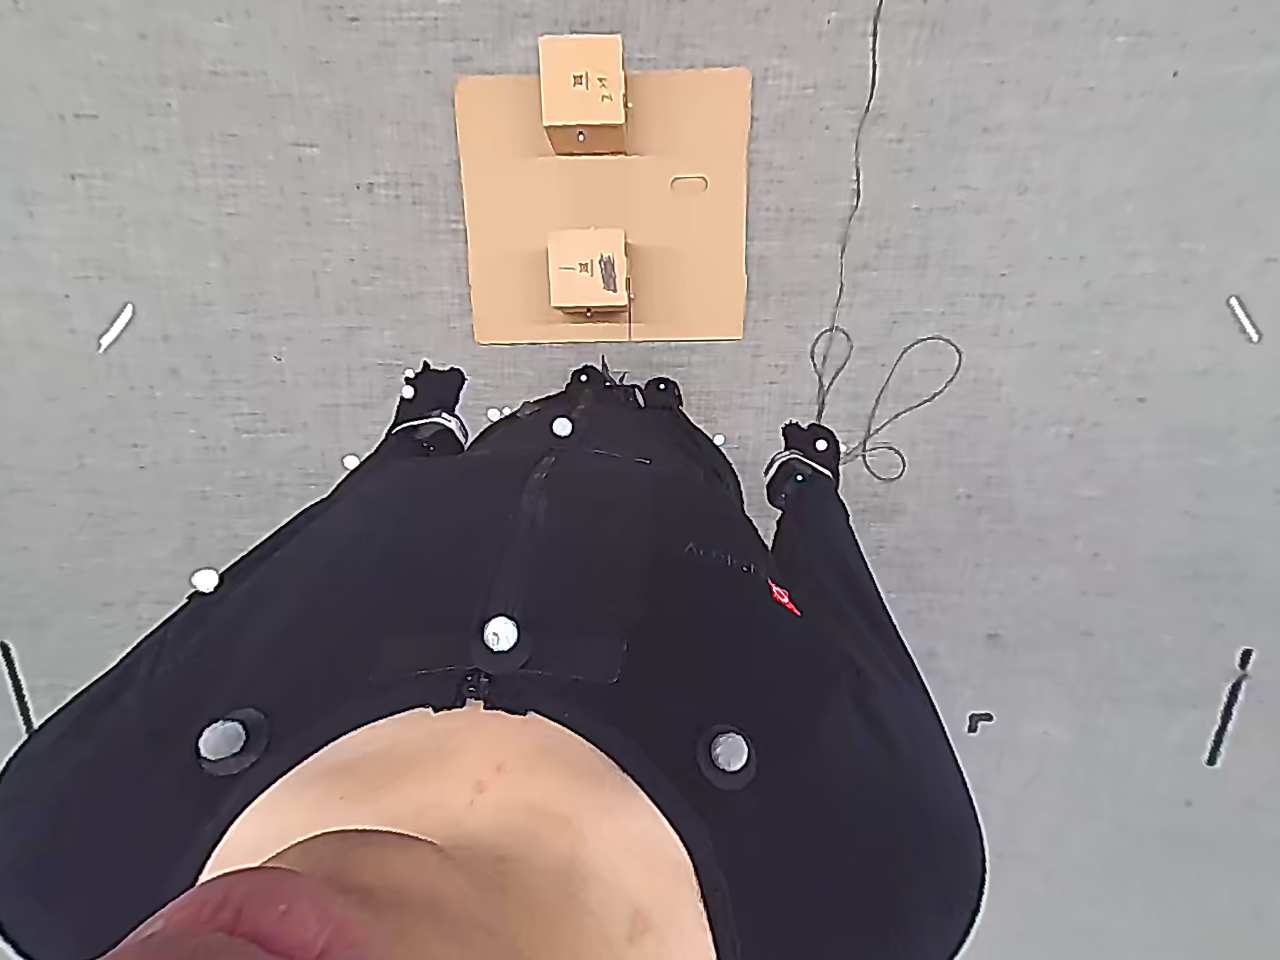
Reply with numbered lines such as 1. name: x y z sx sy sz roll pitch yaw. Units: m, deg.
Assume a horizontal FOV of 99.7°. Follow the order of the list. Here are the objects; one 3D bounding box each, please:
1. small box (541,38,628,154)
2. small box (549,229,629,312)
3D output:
1. small box: -0.118 -0.848 1.208 0.179 0.176 0.168 -1 104 0
2. small box: -0.114 -0.495 1.292 0.179 0.176 0.168 -1 103 1
